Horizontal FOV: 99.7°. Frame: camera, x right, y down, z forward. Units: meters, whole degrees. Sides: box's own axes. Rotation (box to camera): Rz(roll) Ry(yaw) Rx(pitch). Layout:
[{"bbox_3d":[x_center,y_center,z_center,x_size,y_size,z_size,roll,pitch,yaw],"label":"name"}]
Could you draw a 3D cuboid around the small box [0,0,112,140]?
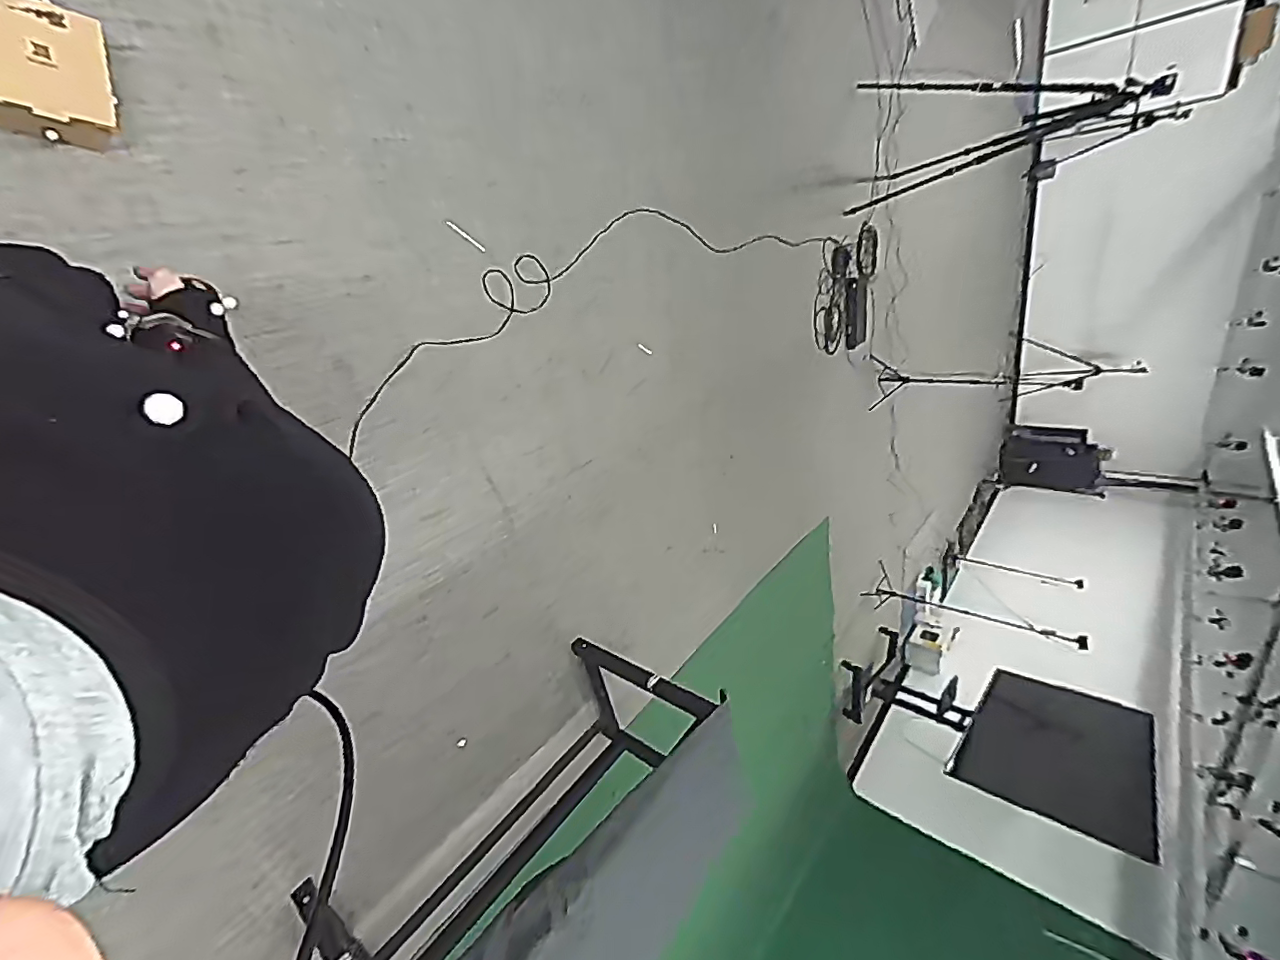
[{"bbox_3d":[-1.049,-0.725,0.943,0.168,0.176,0.179,-10,107,-46],"label":"small box"}]
